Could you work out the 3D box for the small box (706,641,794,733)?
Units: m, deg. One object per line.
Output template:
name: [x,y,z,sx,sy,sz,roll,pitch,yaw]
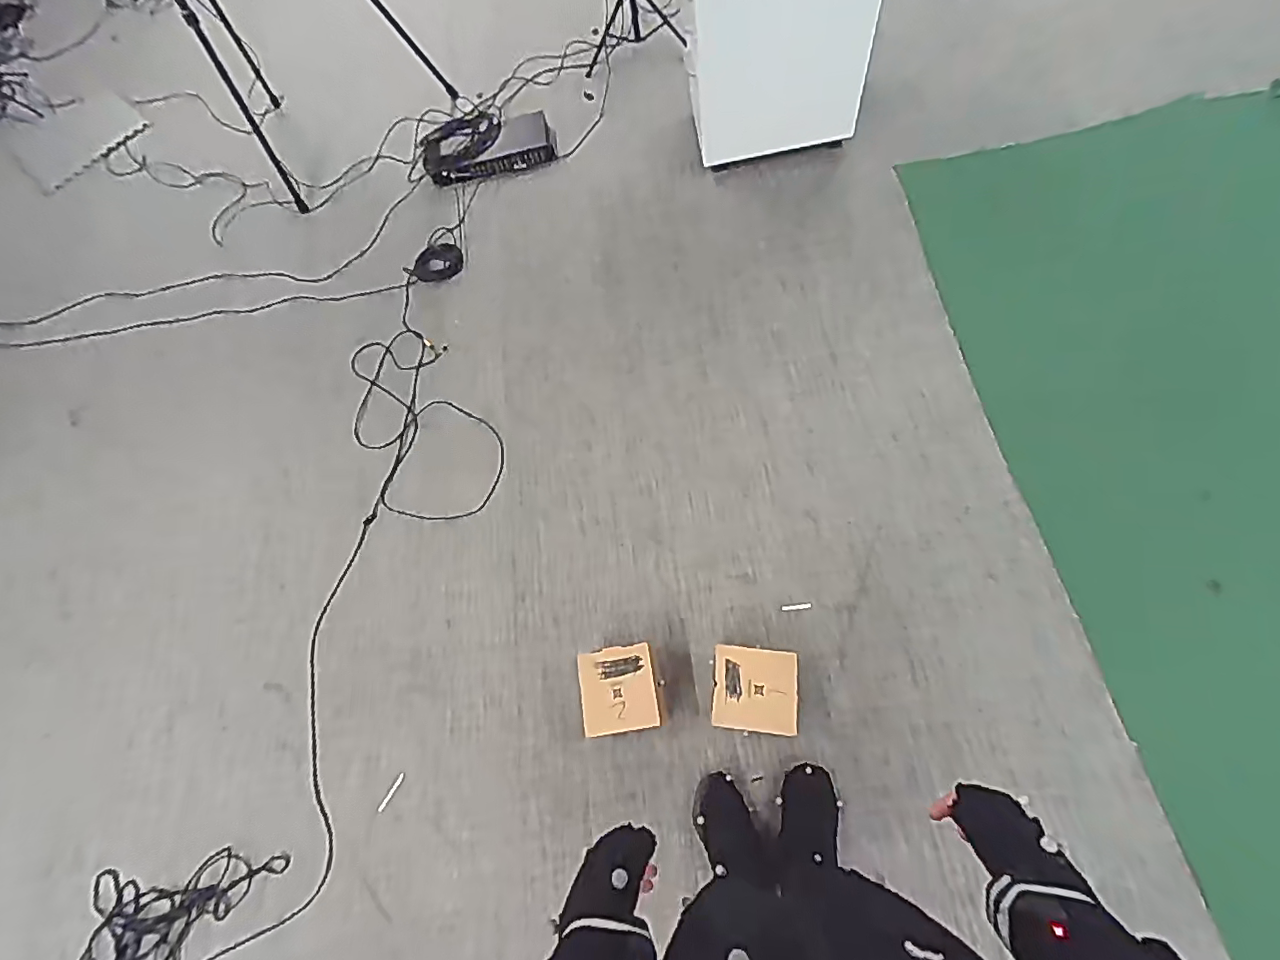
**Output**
small box: [0.244,0.463,1.214,0.179,0.176,0.168,4,69,9]
